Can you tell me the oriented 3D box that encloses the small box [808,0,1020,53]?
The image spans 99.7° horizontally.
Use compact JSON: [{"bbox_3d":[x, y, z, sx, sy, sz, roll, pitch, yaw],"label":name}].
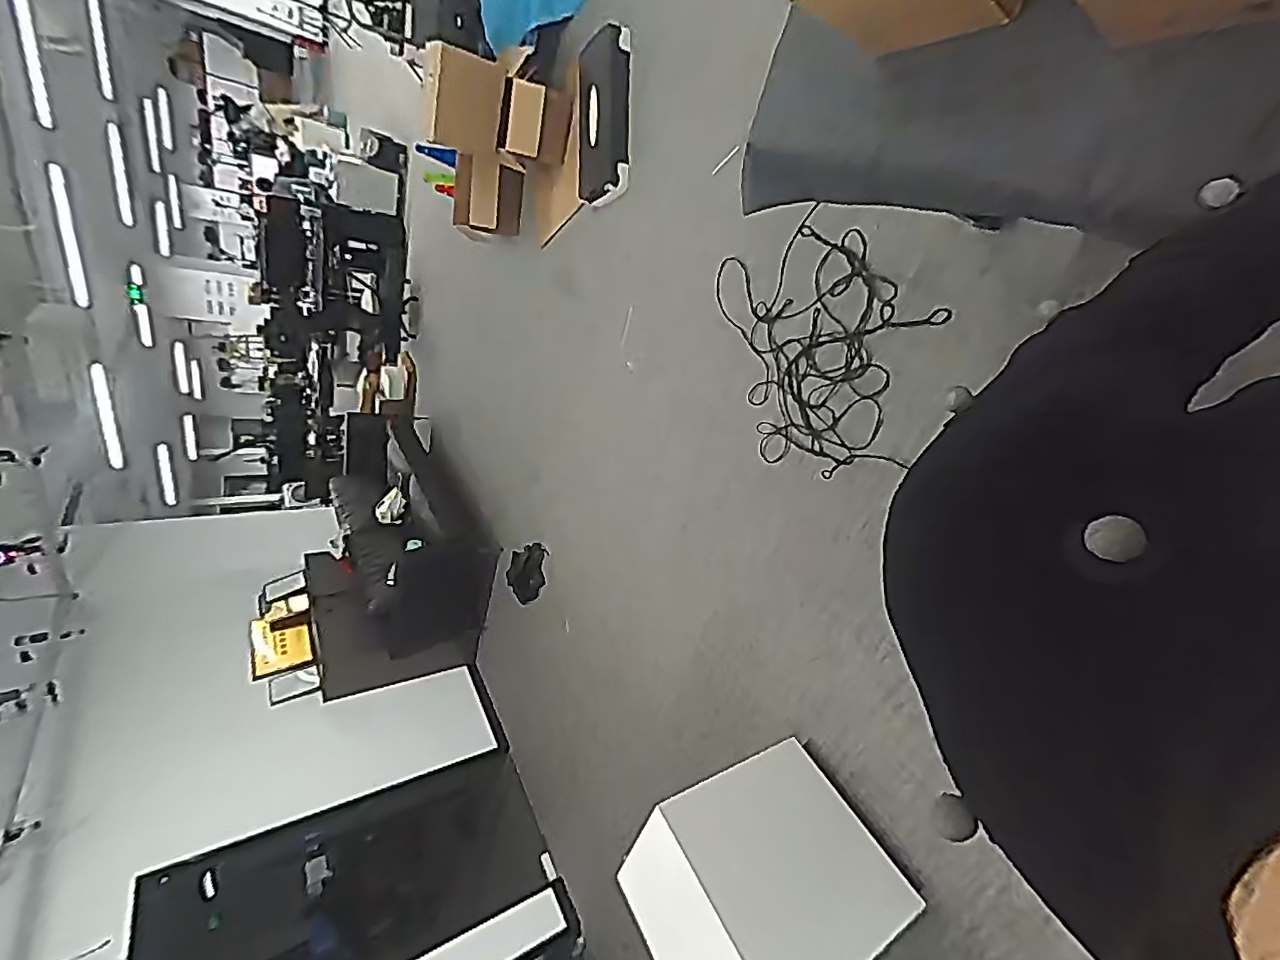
[{"bbox_3d":[0.295,-0.587,0.562,0.179,0.176,0.168,31,117,49],"label":"small box"}]
